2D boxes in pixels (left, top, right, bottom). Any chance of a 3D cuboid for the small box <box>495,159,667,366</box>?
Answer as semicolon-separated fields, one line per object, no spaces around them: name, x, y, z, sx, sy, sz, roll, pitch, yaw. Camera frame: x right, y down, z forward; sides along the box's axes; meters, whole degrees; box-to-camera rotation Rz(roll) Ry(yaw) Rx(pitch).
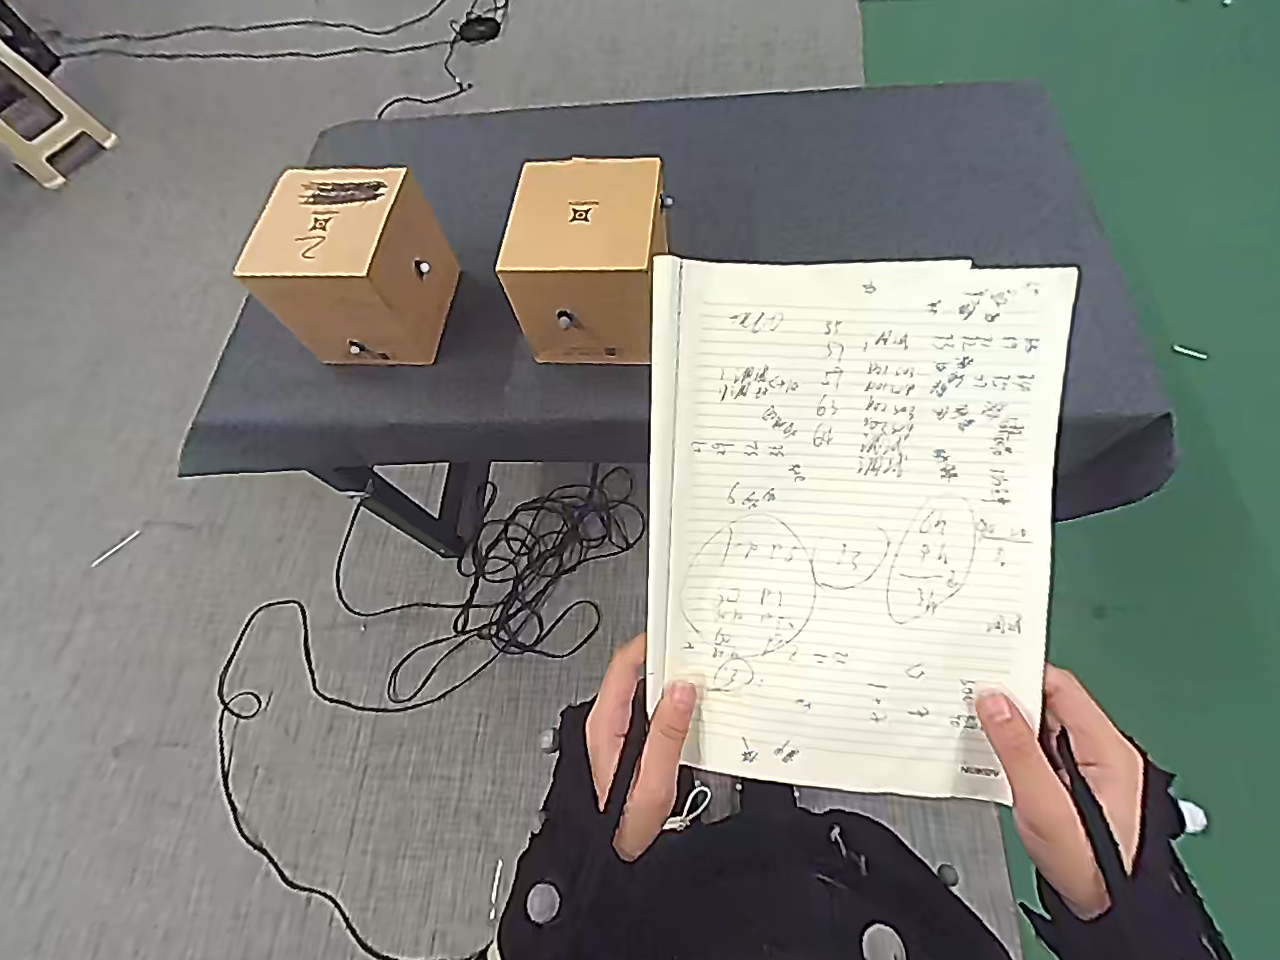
small box;-0.057;-0.256;0.664;0.168;0.176;0.179;2;65;8
